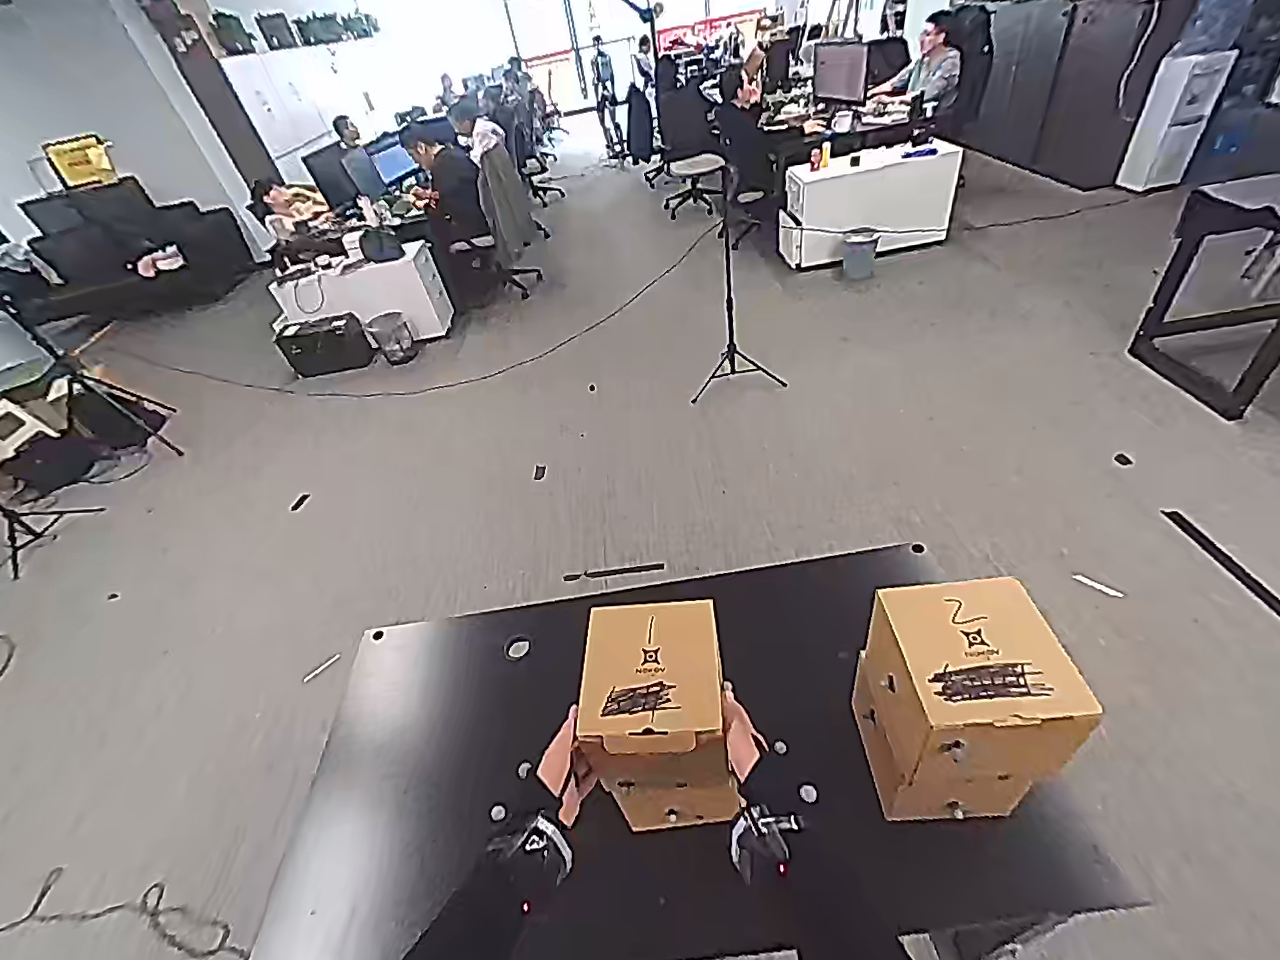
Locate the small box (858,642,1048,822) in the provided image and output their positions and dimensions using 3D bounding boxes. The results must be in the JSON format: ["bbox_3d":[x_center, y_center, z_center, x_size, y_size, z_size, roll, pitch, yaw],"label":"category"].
[{"bbox_3d":[0.417,0.355,0.761,0.168,0.176,0.179,-7,41,8],"label":"small box"}]

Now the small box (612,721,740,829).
[{"bbox_3d":[0.052,0.394,0.813,0.168,0.176,0.179,-9,41,4],"label":"small box"}]

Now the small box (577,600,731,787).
[{"bbox_3d":[0.027,0.279,0.699,0.168,0.176,0.179,-5,41,8],"label":"small box"}]
